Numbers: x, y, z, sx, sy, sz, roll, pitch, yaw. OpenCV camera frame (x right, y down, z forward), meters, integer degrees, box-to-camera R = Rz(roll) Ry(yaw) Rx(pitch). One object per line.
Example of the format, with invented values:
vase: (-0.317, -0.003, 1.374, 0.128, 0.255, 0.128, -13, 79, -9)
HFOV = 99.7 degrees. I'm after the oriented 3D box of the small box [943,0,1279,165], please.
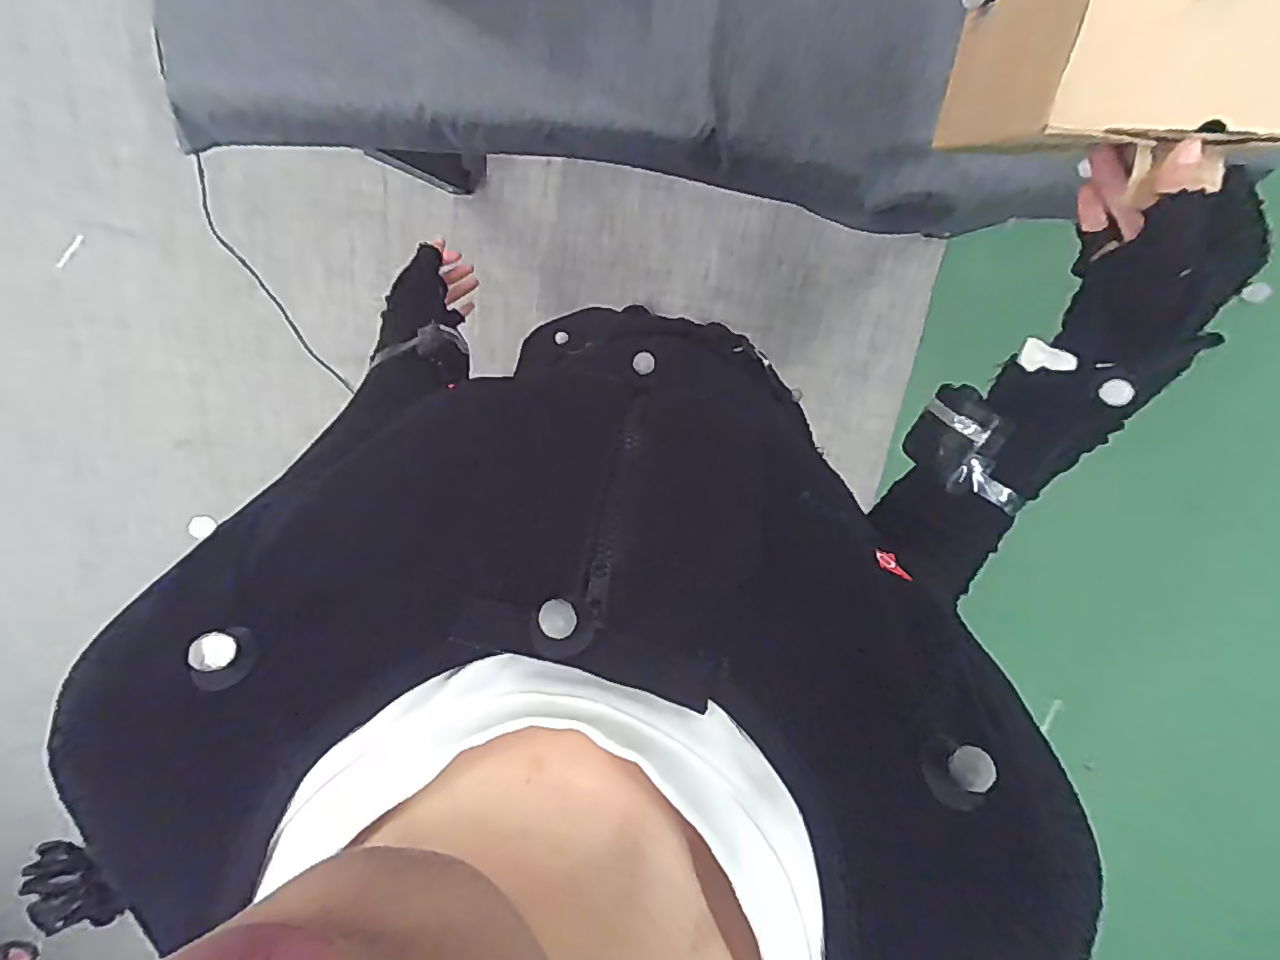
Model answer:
small box: (0.306, -0.288, 0.314, 0.168, 0.176, 0.179, 6, 119, 4)
